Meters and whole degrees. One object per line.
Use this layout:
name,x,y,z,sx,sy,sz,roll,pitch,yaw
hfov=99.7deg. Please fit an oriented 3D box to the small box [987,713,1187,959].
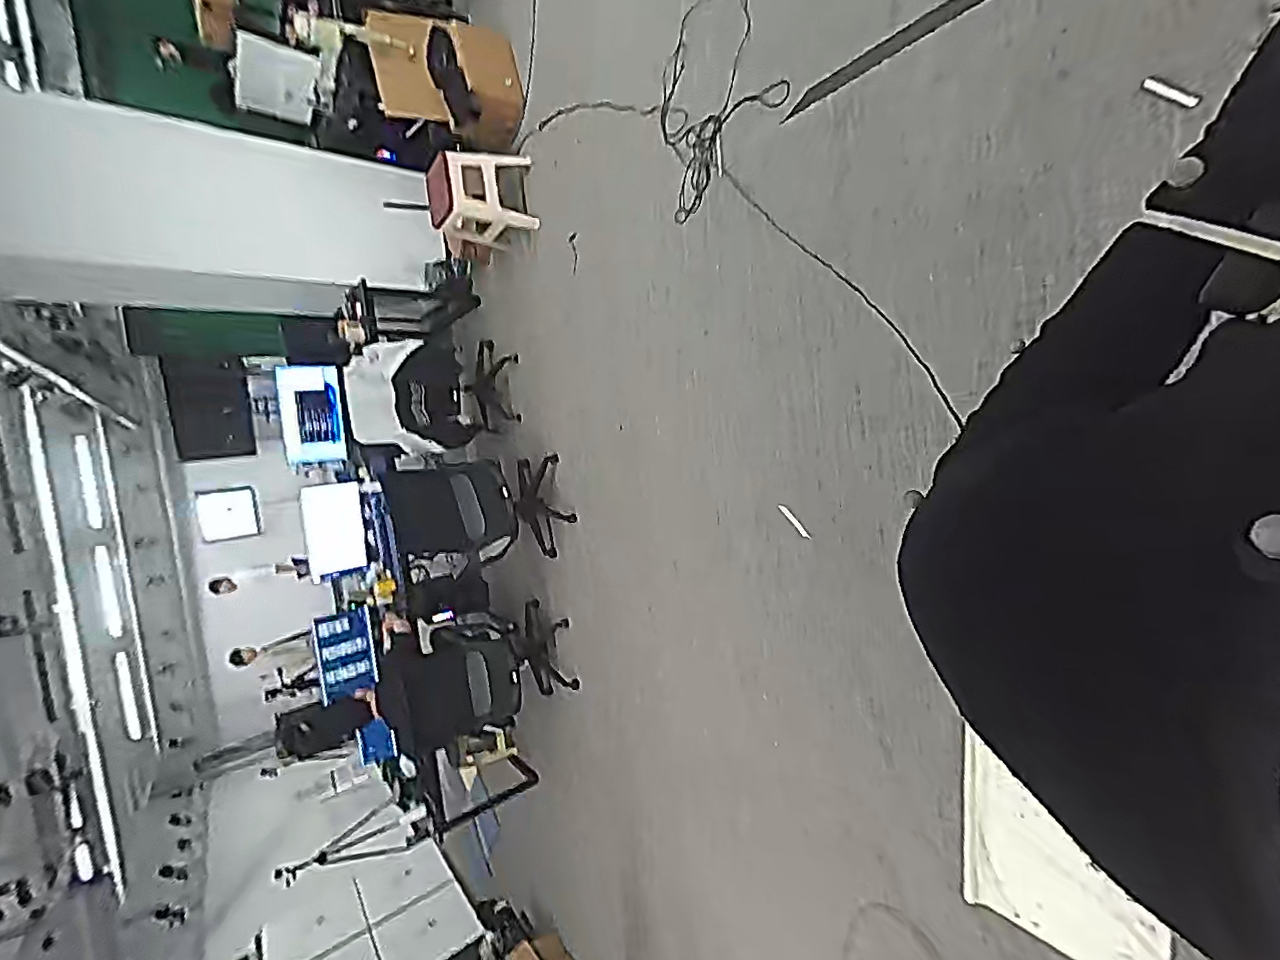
small box,0.580,0.441,0.704,0.168,0.176,0.179,5,100,54
